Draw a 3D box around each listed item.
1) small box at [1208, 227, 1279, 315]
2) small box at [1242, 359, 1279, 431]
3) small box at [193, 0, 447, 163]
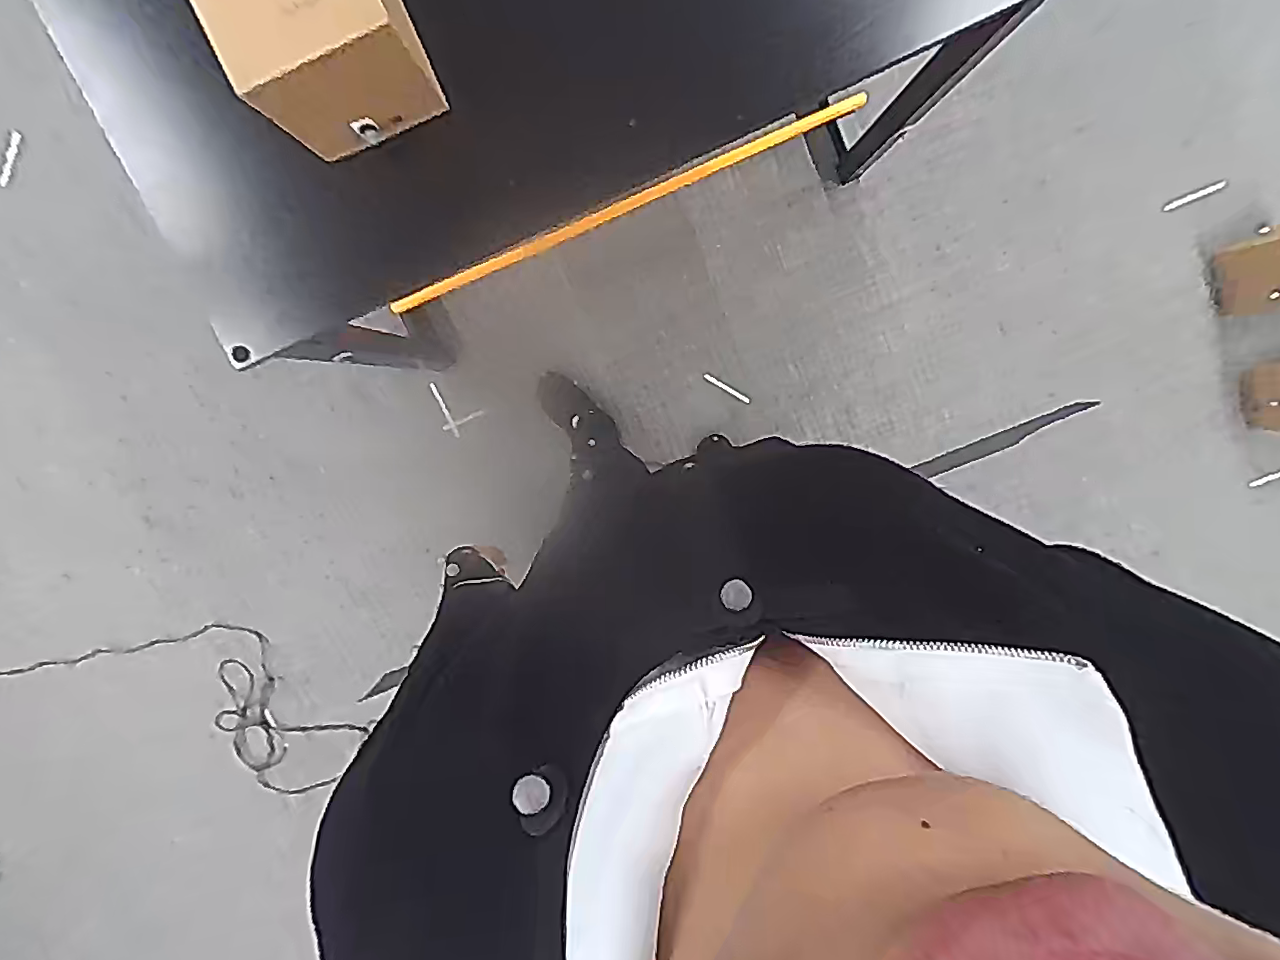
[{"bbox_3d":[1.574,-0.519,1.327,0.168,0.176,0.179,-26,99,3],"label":"small box"},{"bbox_3d":[1.709,-0.225,1.382,0.179,0.176,0.168,-21,100,4],"label":"small box"},{"bbox_3d":[-0.338,-0.484,0.576,0.168,0.176,0.179,-23,100,4],"label":"small box"}]
